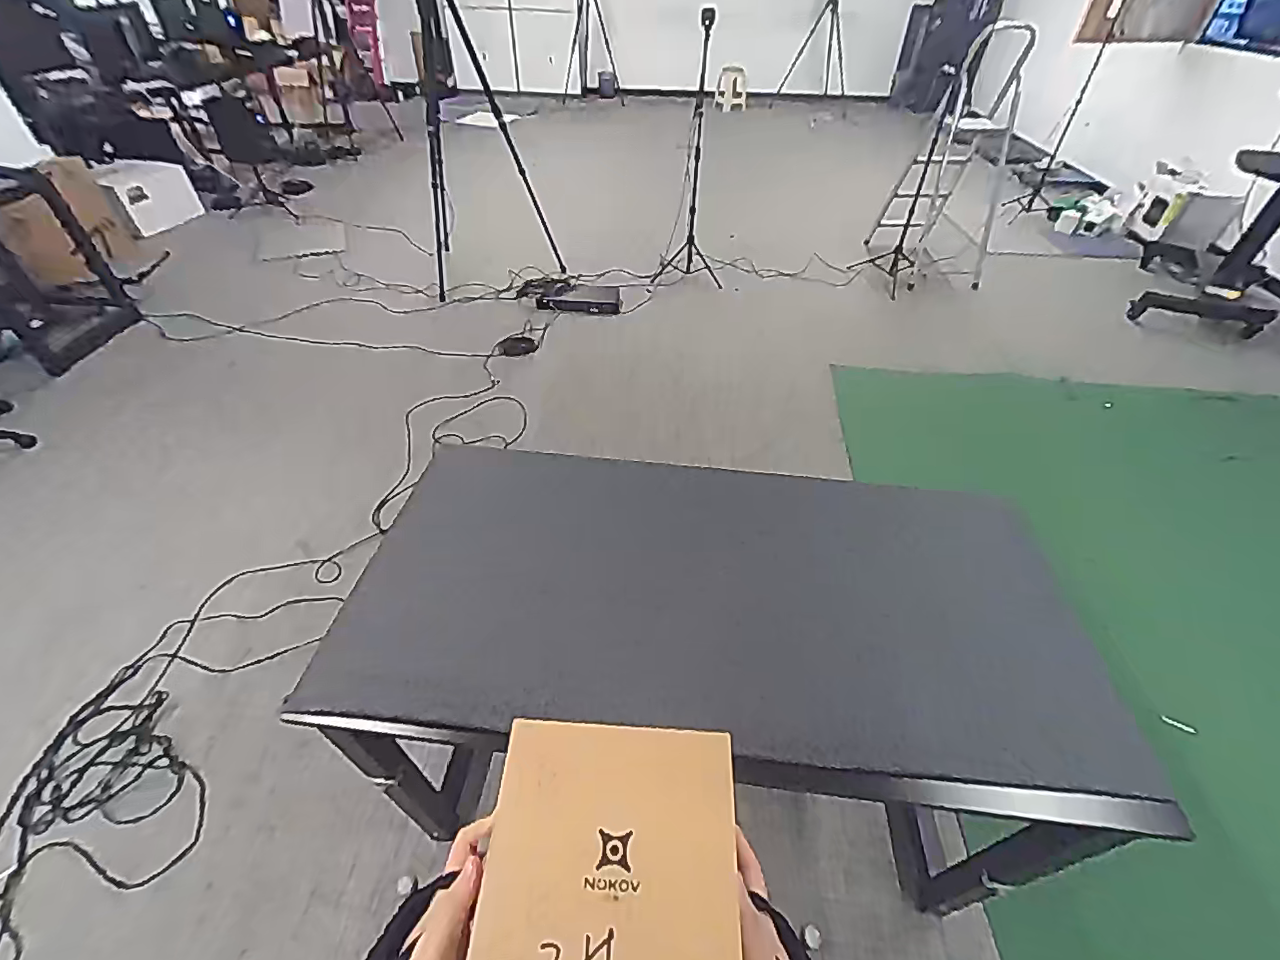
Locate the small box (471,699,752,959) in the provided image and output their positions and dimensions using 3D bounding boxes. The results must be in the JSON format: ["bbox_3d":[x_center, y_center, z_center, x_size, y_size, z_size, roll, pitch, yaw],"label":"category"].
[{"bbox_3d":[-0.017,0.289,0.410,0.168,0.176,0.179,4,49,0],"label":"small box"}]
